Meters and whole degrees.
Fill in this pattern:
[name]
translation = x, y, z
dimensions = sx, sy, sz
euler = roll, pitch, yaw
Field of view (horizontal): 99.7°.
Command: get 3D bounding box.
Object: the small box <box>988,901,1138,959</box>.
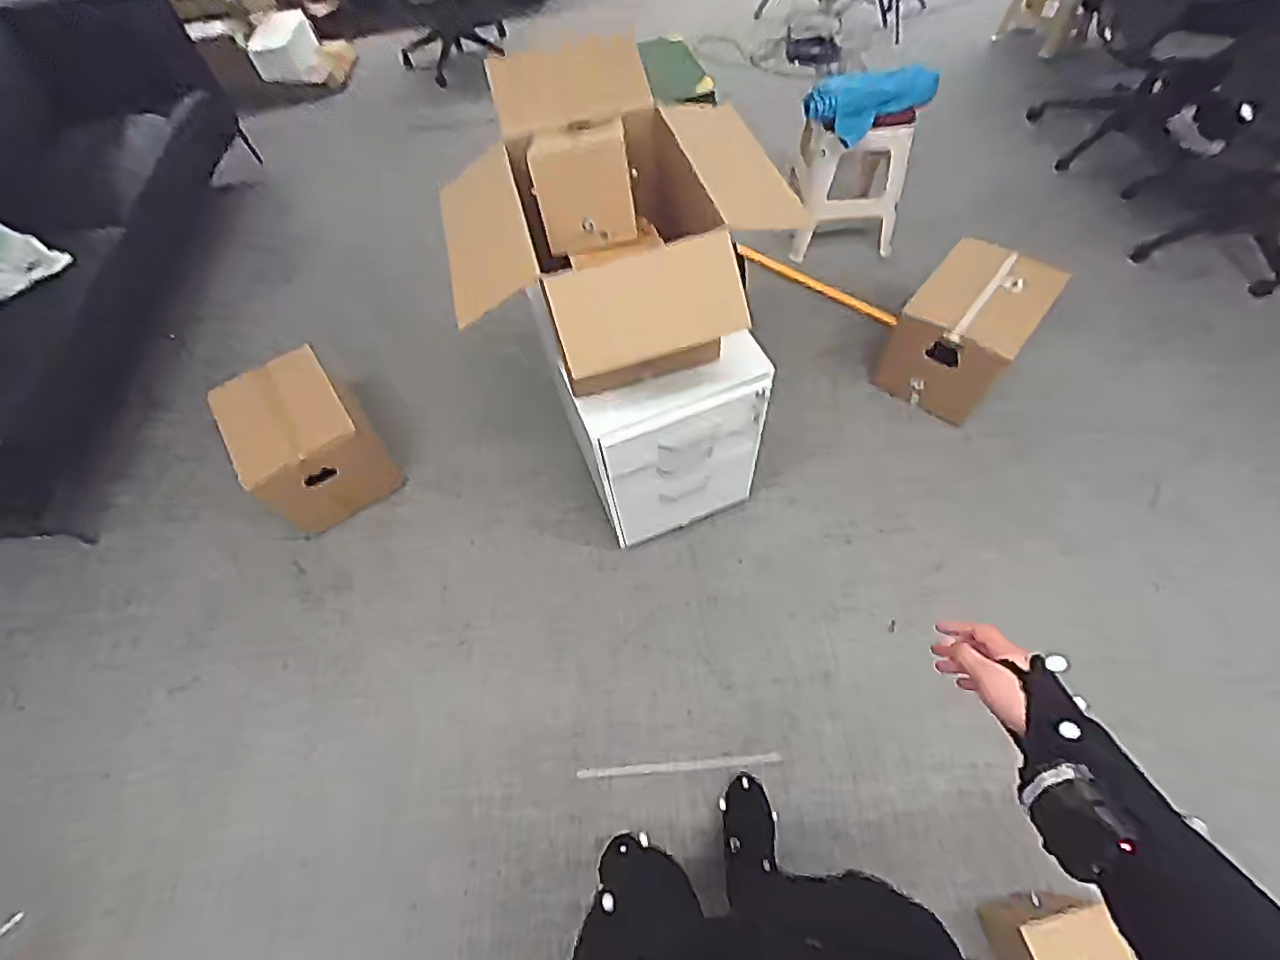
[small box]
translation = 0.784, 0.894, 0.983
dimensions = 0.168, 0.176, 0.179
euler = -13, 60, -2
